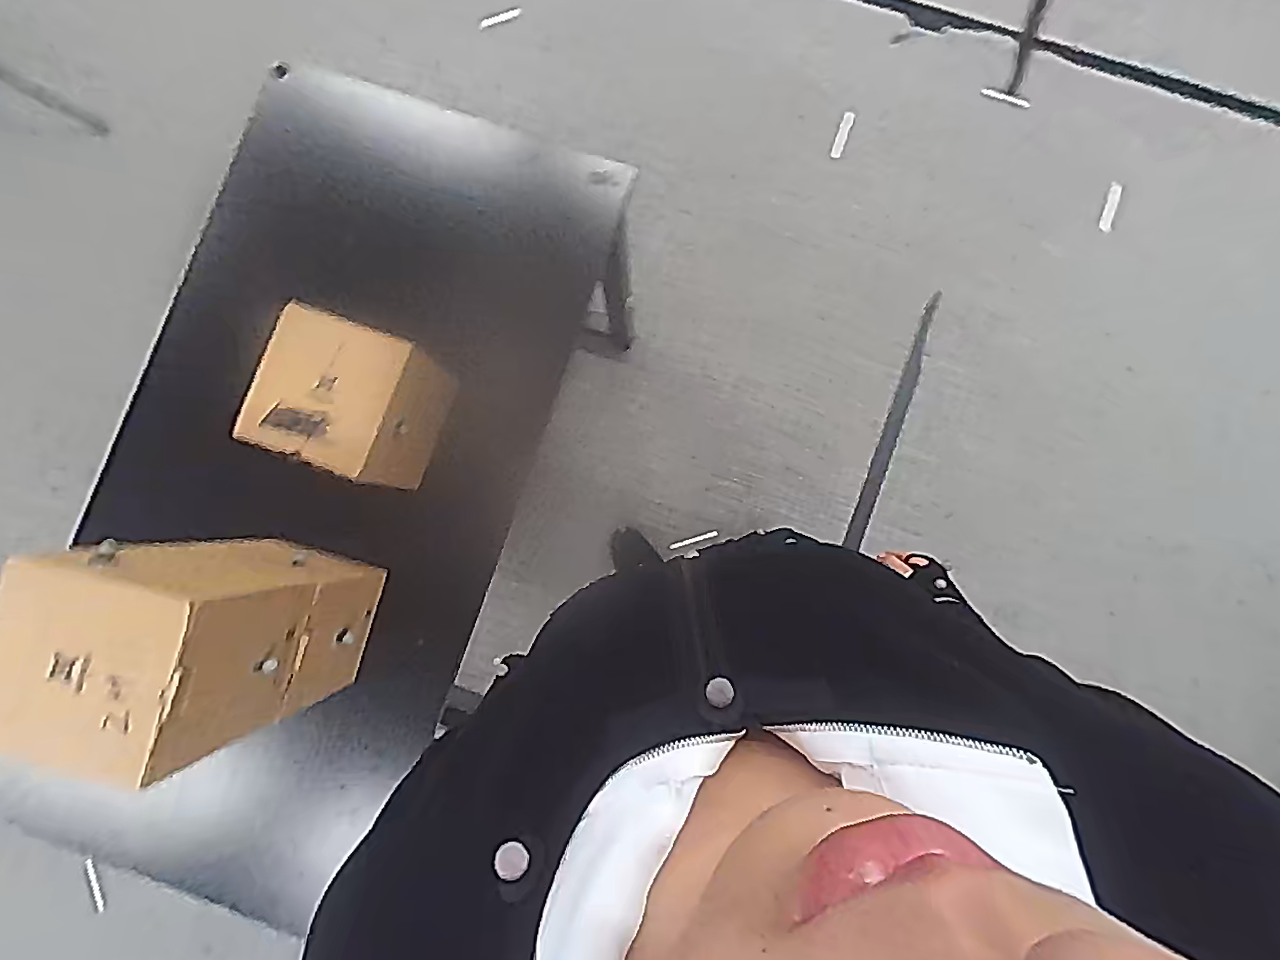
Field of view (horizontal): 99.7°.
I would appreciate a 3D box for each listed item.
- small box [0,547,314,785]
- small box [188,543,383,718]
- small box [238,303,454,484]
[{"bbox_3d":[-0.479,0.166,0.543,0.179,0.176,0.168,13,86,2],"label":"small box"},{"bbox_3d":[-0.472,0.181,0.708,0.179,0.176,0.168,14,86,2],"label":"small box"},{"bbox_3d":[-0.377,-0.102,0.730,0.168,0.176,0.179,19,85,3],"label":"small box"}]
